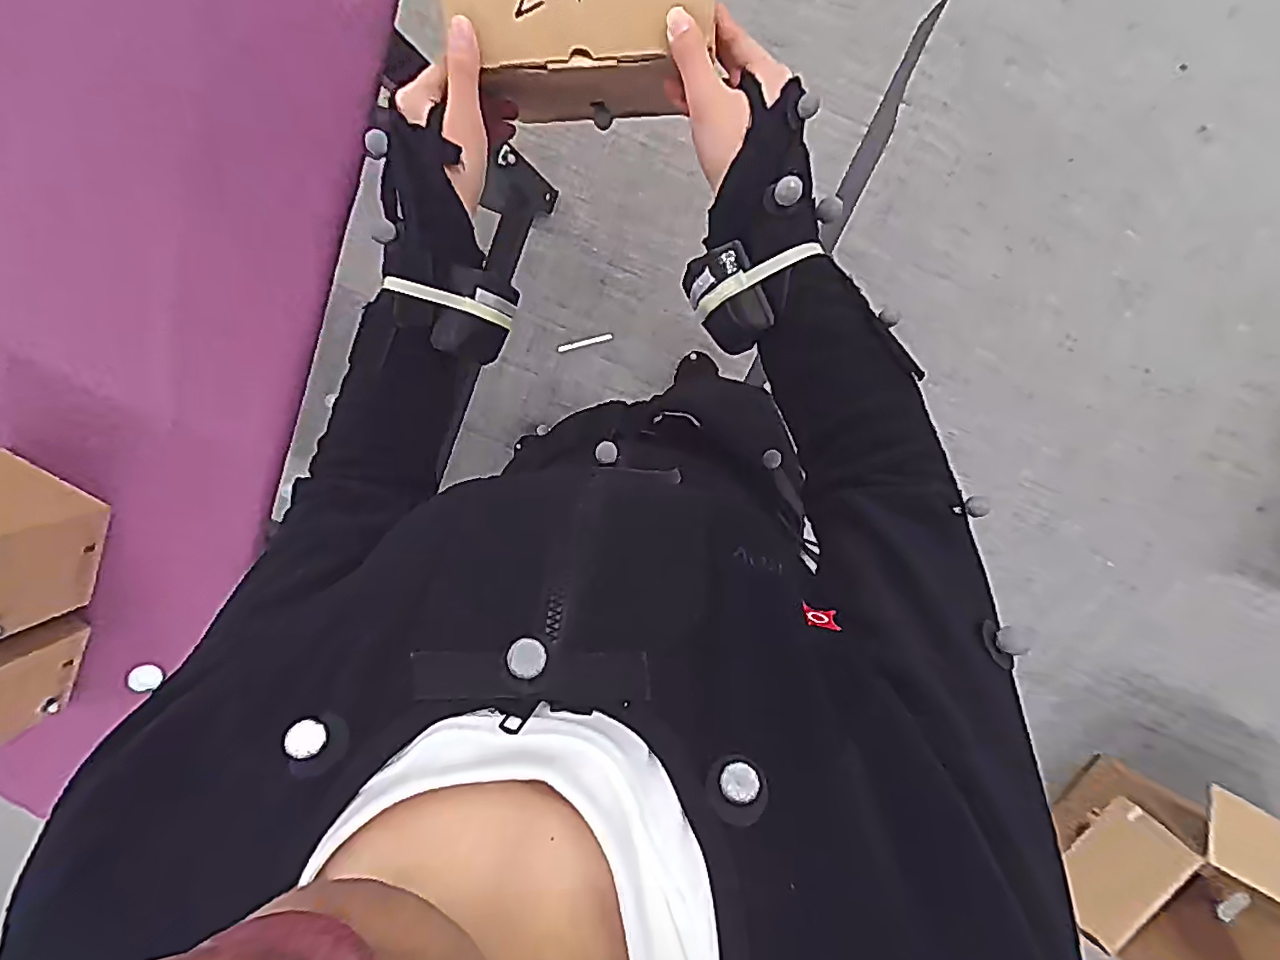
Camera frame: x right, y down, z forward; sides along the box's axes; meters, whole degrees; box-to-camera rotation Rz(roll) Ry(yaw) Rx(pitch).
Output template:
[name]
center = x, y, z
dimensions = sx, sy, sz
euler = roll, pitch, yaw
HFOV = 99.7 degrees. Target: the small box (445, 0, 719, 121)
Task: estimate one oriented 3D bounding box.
[small box]
center = -0.032, -0.368, 0.370
dimensions = 0.168, 0.176, 0.179
euler = 0, 114, 4
